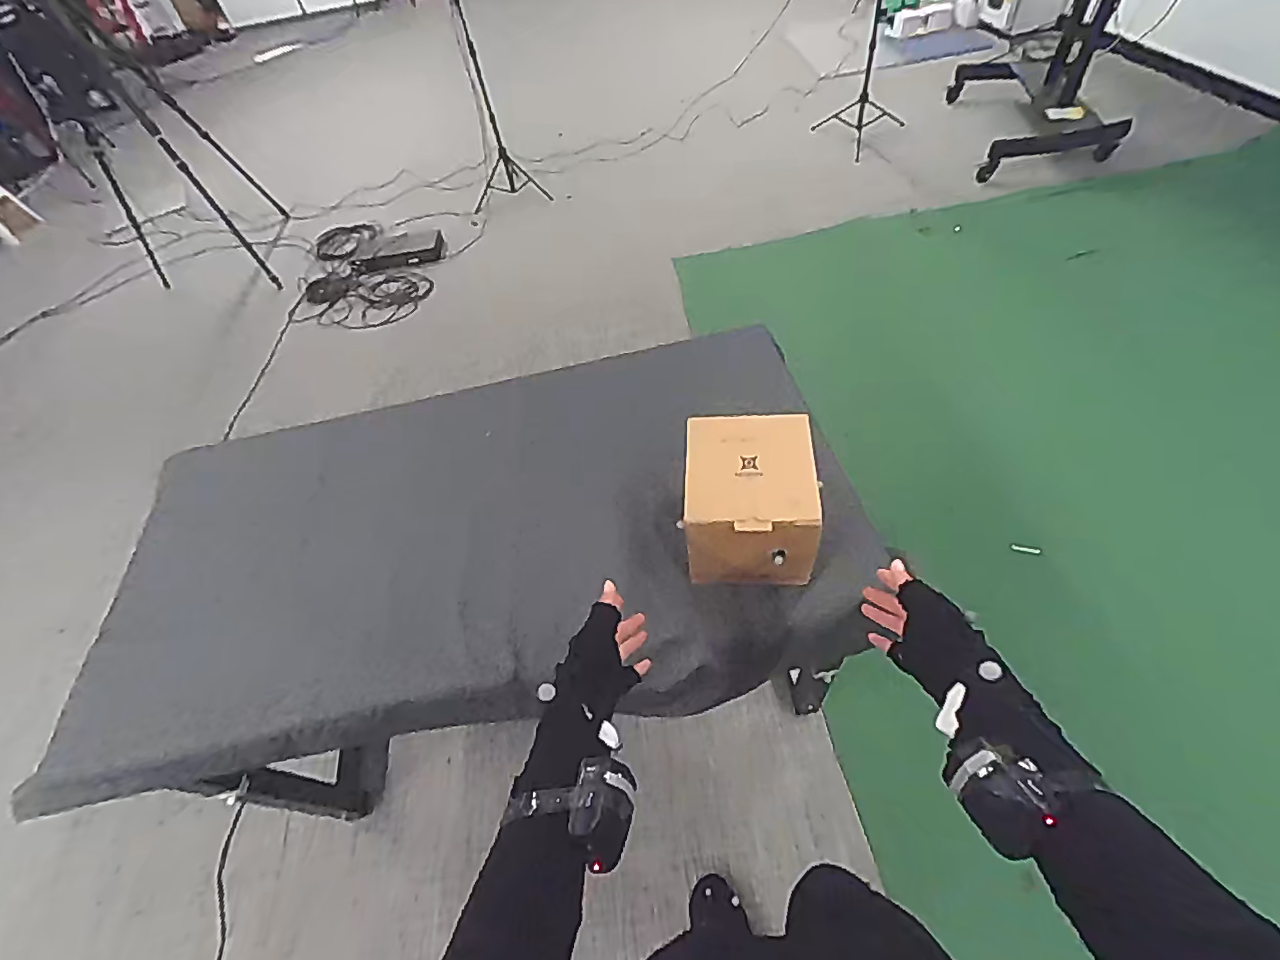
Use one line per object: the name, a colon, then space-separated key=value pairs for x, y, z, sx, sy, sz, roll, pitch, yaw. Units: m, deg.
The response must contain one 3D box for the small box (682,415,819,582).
small box: x=0.149 y=0.031 z=0.760 sx=0.168 sy=0.176 sz=0.179 roll=-1 pitch=52 yaw=7
